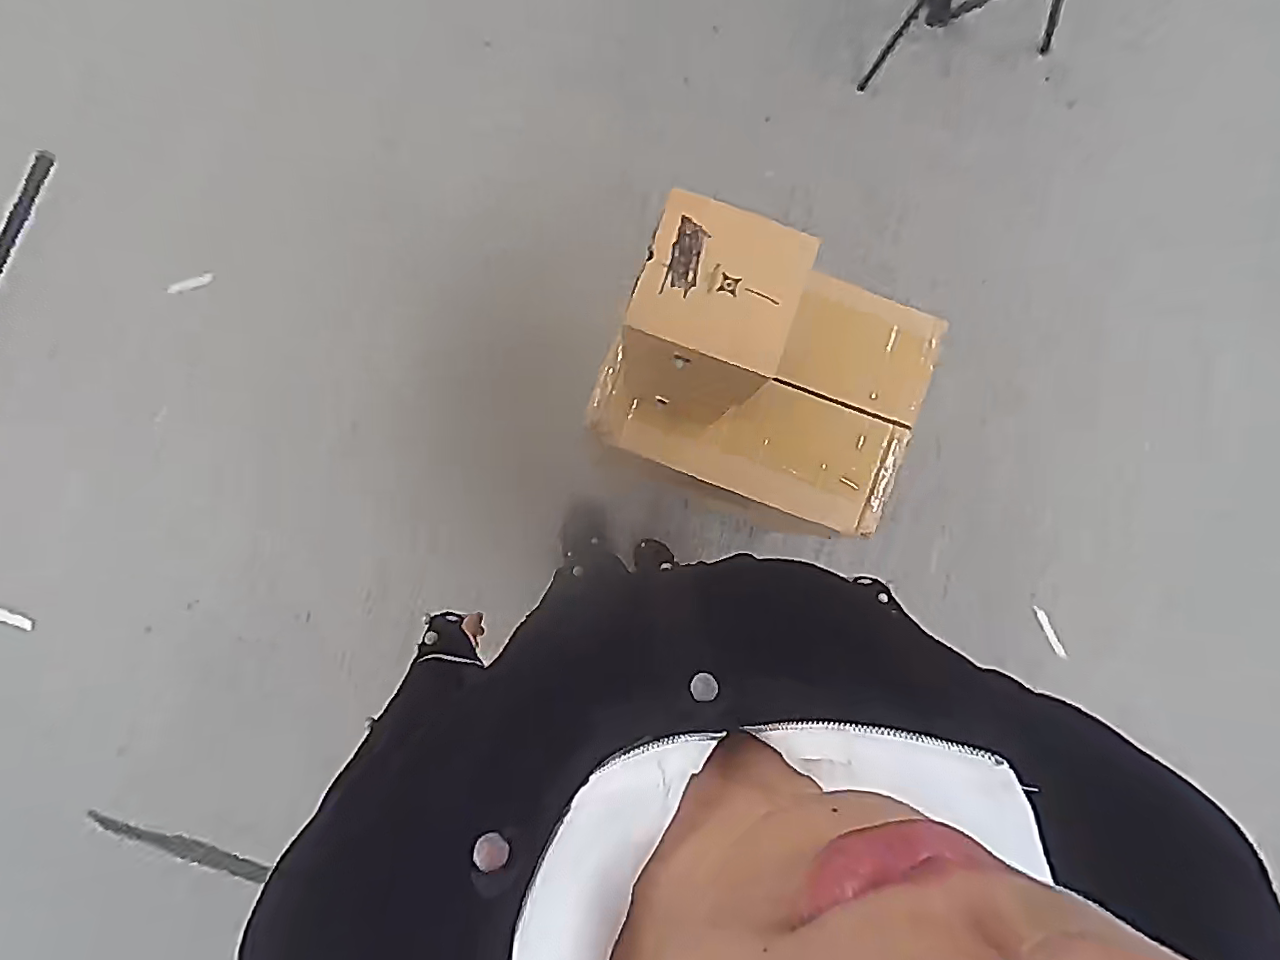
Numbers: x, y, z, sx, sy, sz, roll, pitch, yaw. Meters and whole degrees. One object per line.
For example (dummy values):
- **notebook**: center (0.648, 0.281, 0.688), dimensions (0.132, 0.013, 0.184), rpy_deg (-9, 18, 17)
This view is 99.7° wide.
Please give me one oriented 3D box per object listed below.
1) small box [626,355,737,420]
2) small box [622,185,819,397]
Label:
- **small box**: center (0.082, -0.208, 0.830), dimensions (0.168, 0.176, 0.179), rpy_deg (21, 88, 0)
- **small box**: center (0.086, -0.215, 0.666), dimensions (0.179, 0.176, 0.168), rpy_deg (20, 87, 0)
